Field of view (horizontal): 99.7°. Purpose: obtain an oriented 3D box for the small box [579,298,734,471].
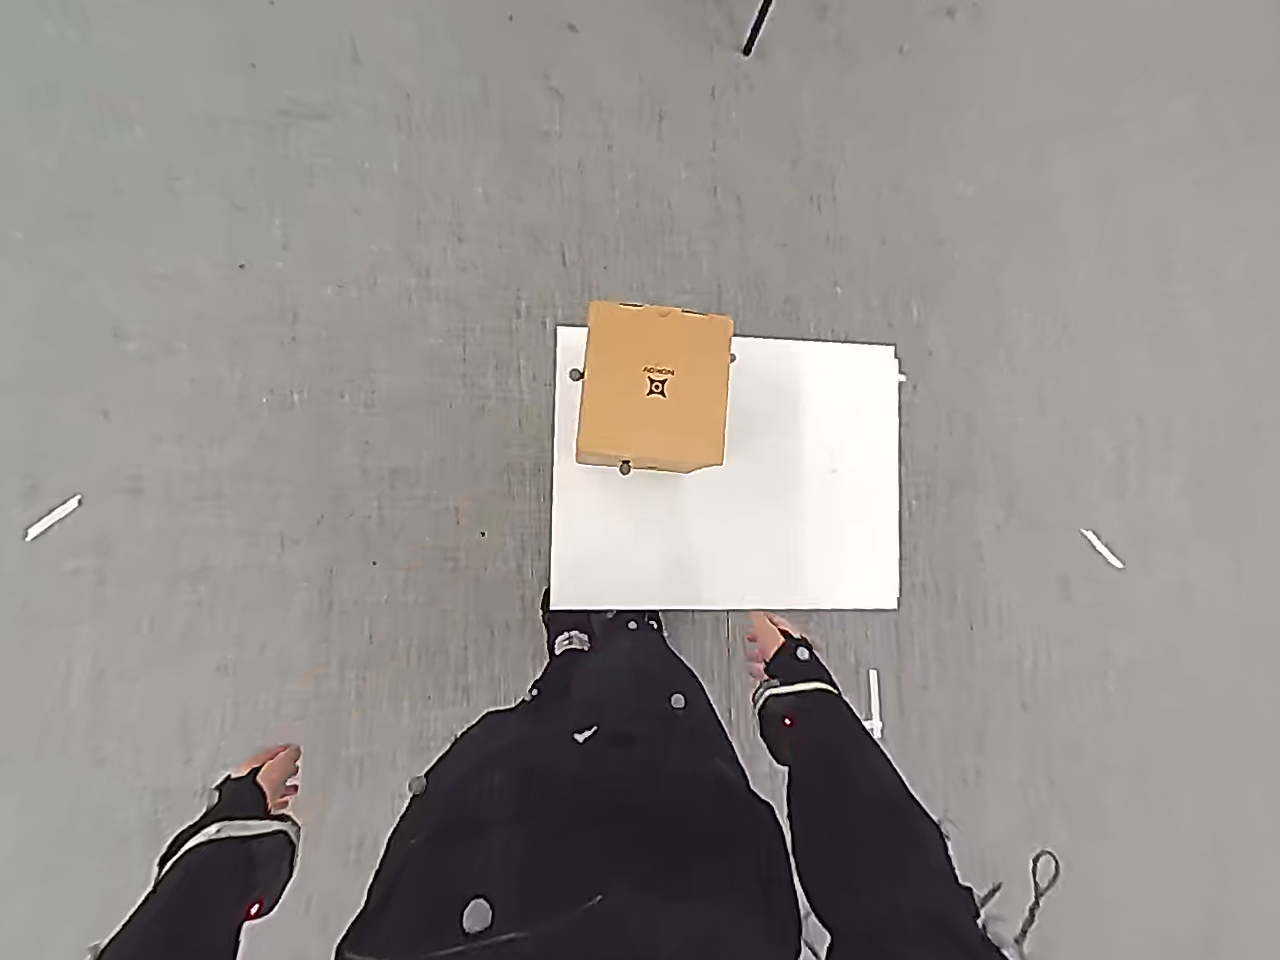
[{"bbox_3d":[0.012,-0.106,0.685,0.168,0.176,0.179,5,86,-7],"label":"small box"}]
